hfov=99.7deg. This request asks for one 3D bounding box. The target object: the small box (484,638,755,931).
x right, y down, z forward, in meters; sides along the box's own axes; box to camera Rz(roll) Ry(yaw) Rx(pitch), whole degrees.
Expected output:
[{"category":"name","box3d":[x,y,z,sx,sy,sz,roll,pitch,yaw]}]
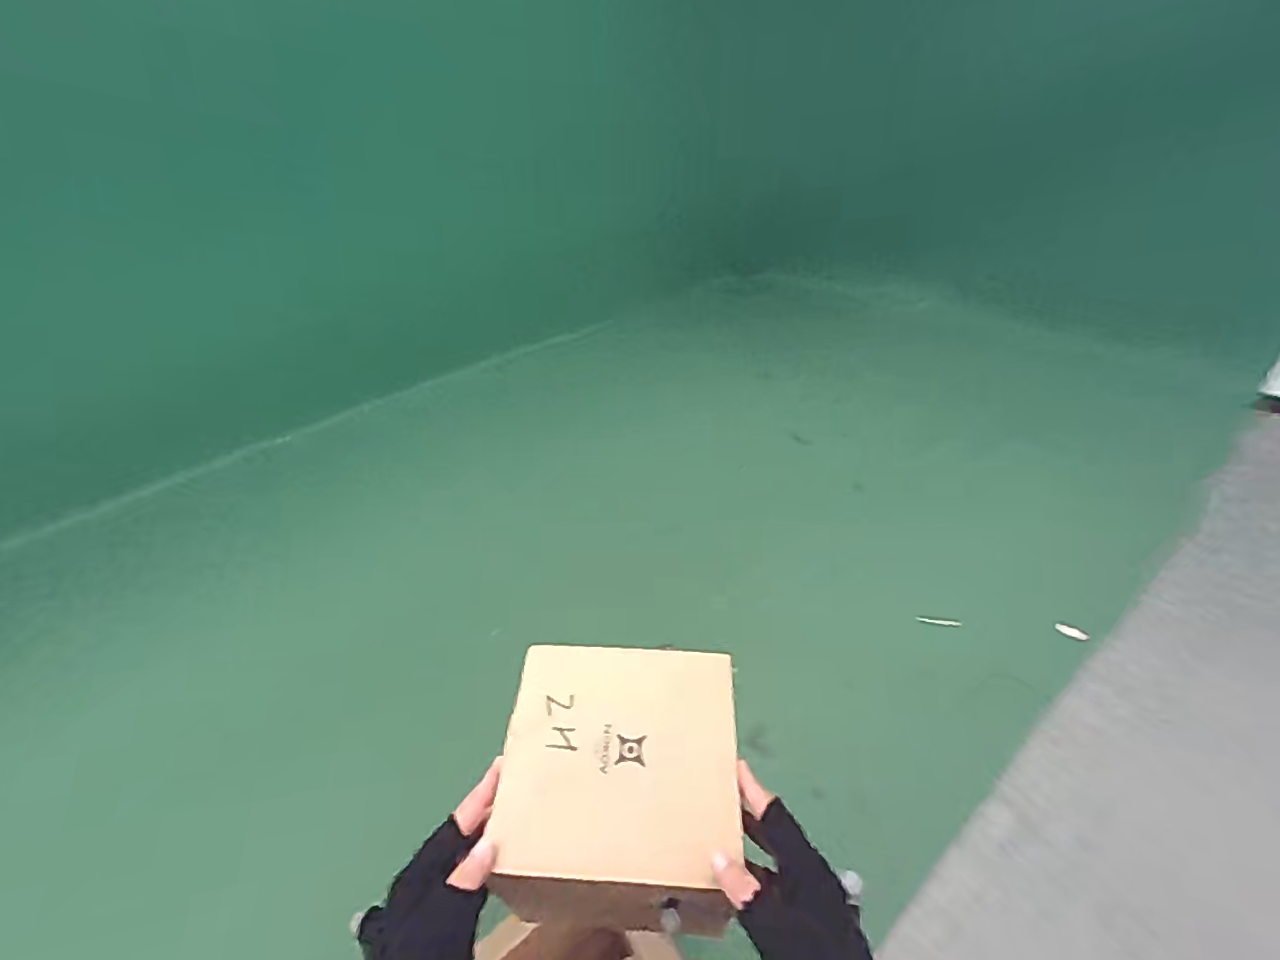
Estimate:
[{"category":"small box","box3d":[-0.006,0.254,0.453,0.179,0.176,0.168,2,42,5]}]
